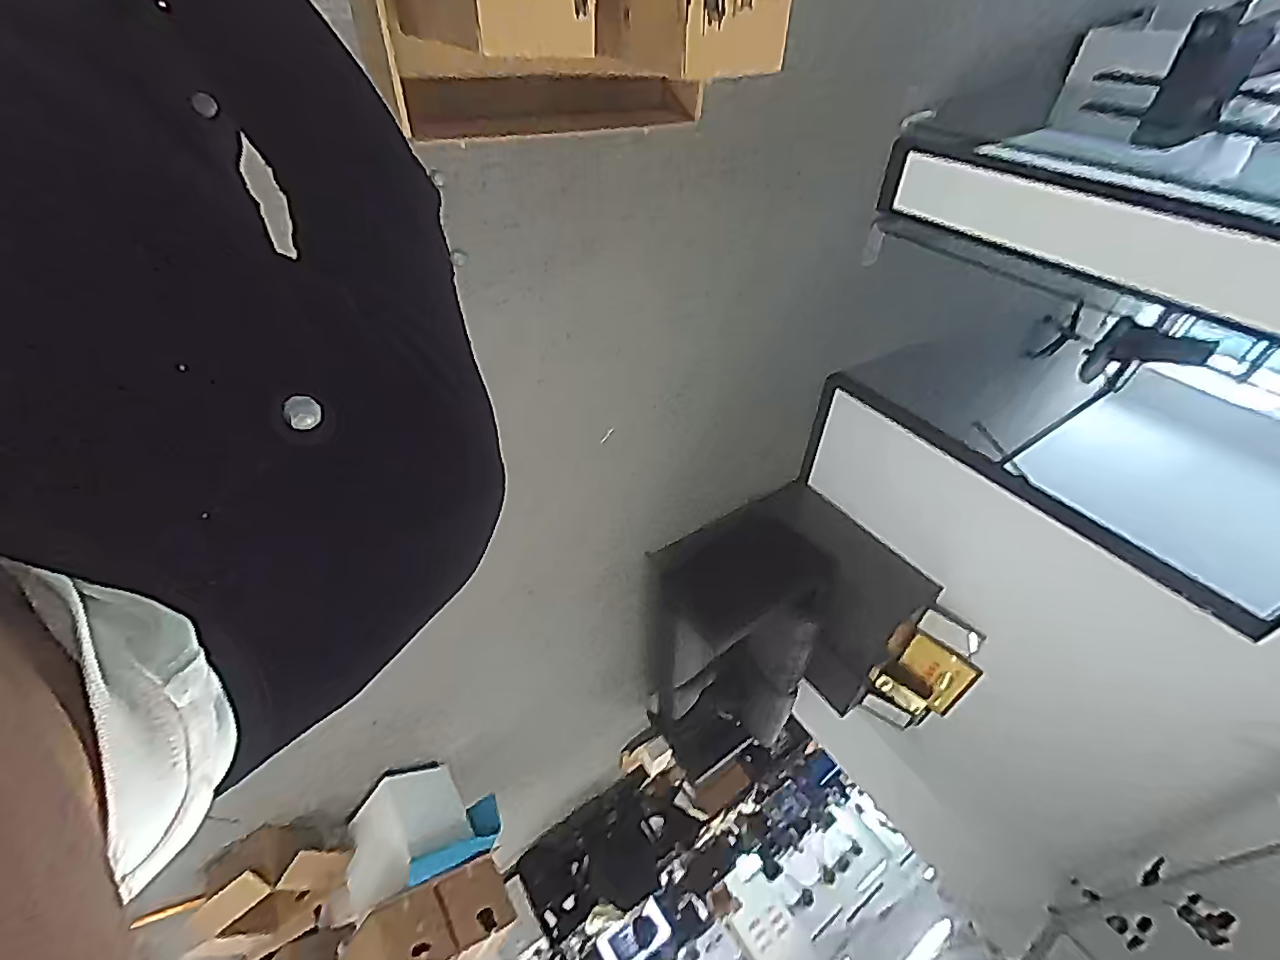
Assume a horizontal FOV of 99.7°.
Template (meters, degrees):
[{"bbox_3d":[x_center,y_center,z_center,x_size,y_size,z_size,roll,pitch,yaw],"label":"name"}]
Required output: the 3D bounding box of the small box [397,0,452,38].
[{"bbox_3d":[-0.266,-0.785,0.823,0.179,0.176,0.168,-23,139,-27],"label":"small box"}]

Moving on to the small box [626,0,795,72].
[{"bbox_3d":[0.091,-0.668,0.731,0.179,0.176,0.168,-23,139,-22],"label":"small box"}]

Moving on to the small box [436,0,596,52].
[{"bbox_3d":[-0.174,-0.691,0.727,0.179,0.176,0.168,-22,139,-27],"label":"small box"}]
